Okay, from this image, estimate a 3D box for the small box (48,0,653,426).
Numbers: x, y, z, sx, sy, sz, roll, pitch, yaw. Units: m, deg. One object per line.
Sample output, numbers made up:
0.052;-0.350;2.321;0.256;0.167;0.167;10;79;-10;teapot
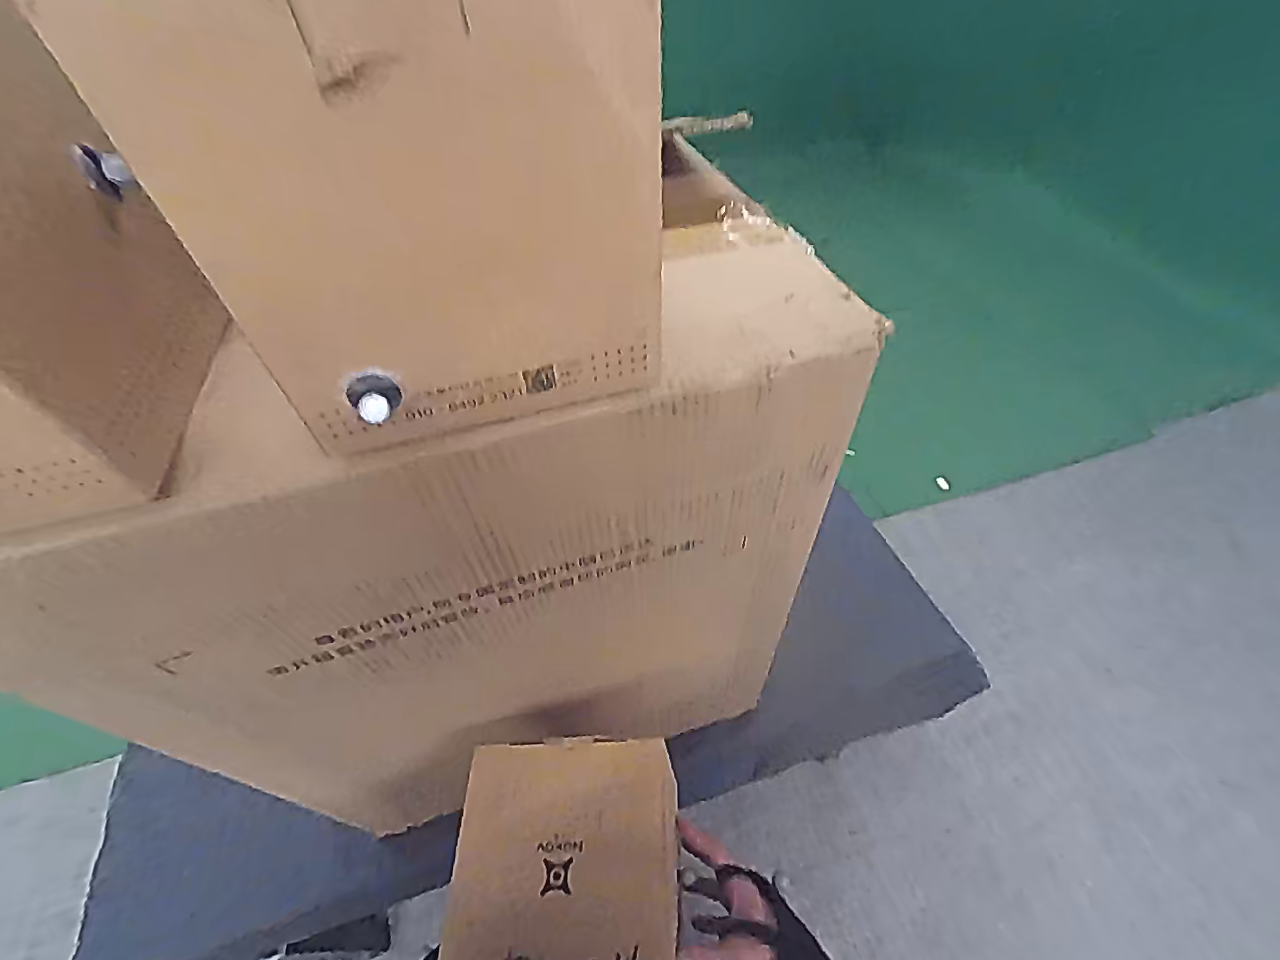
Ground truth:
-0.094;-0.144;0.261;0.168;0.176;0.179;-15;49;-11;small box
